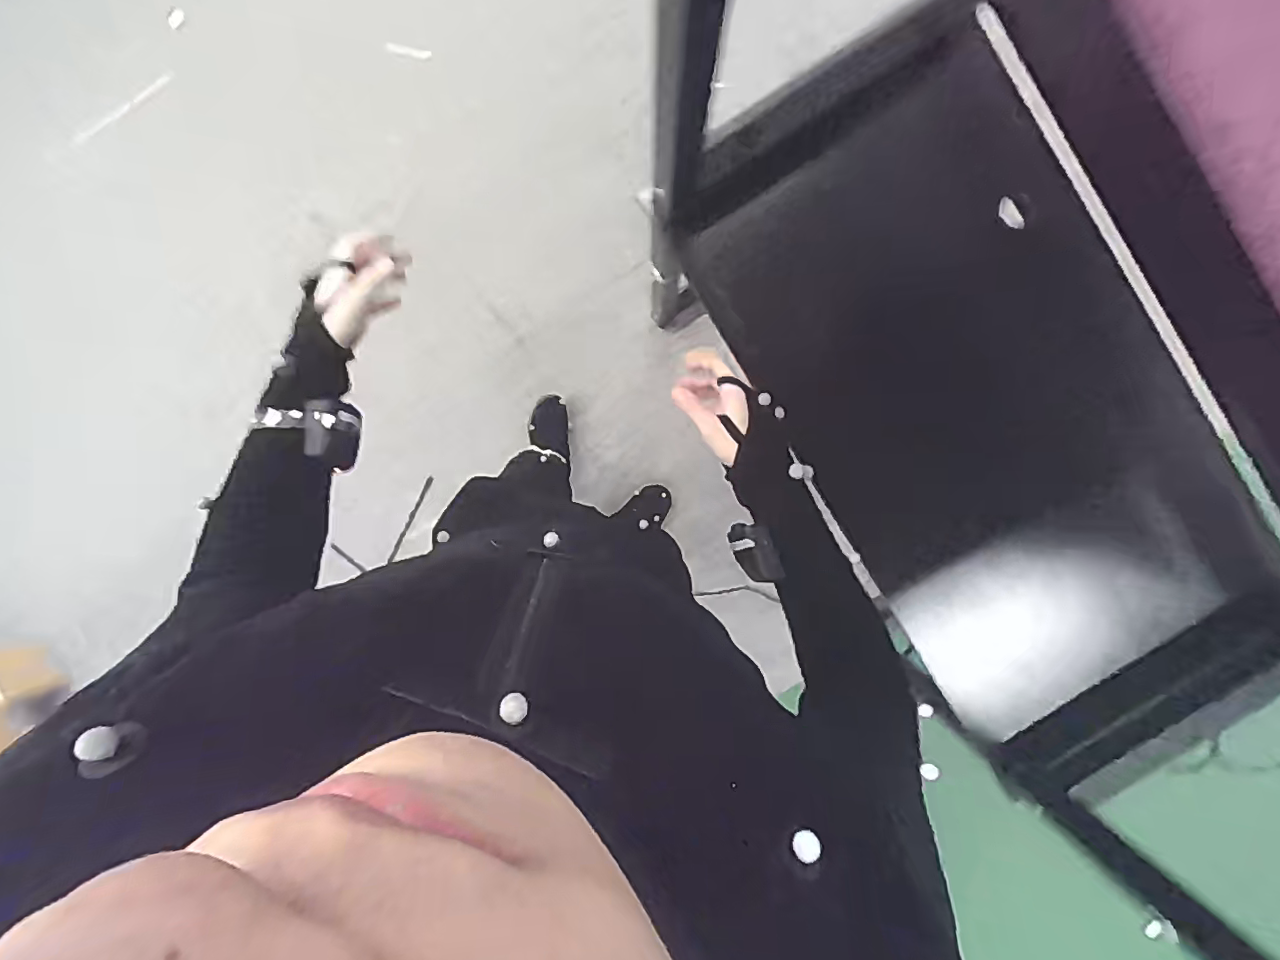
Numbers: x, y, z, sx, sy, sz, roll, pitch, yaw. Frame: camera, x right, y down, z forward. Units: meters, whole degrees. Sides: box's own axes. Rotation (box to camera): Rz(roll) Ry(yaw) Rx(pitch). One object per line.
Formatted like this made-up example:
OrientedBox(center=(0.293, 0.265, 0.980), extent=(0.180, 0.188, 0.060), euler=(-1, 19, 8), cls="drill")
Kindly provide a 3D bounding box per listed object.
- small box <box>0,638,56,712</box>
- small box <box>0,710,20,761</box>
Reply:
OrientedBox(center=(-1.915, 0.600, 1.607), extent=(0.179, 0.176, 0.168), euler=(-31, 92, 3), cls="small box")
OrientedBox(center=(-1.854, 0.726, 1.448), extent=(0.168, 0.176, 0.179), euler=(-33, 90, 2), cls="small box")
